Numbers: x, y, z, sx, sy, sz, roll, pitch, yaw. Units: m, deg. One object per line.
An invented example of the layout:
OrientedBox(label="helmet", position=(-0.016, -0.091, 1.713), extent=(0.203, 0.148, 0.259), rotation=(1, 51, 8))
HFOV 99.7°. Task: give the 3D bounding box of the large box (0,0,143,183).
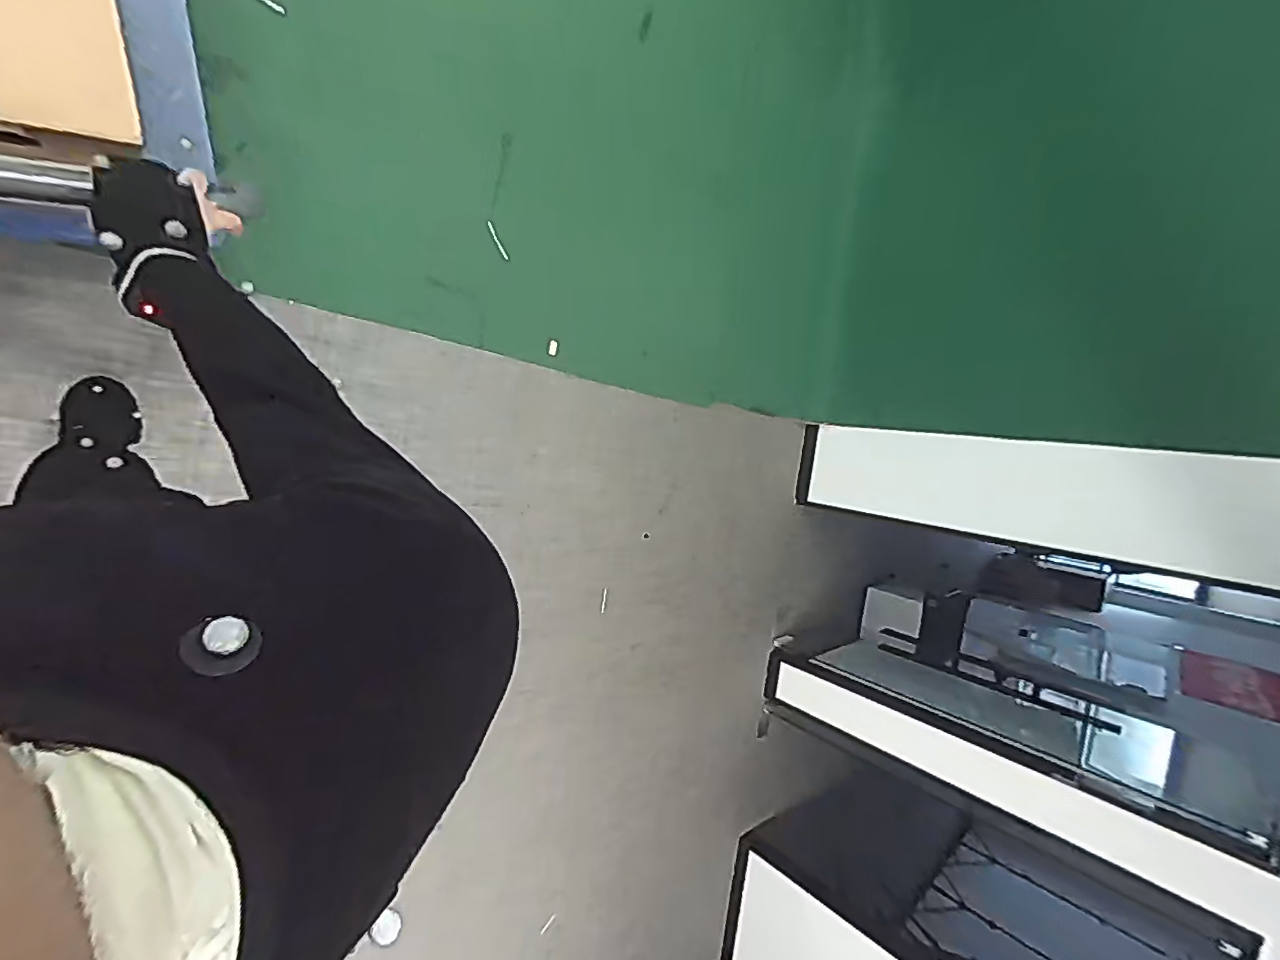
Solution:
OrientedBox(label="large box", position=(-0.951, -0.686, 0.759), extent=(0.320, 0.320, 0.408), rotation=(-13, 110, -40))
